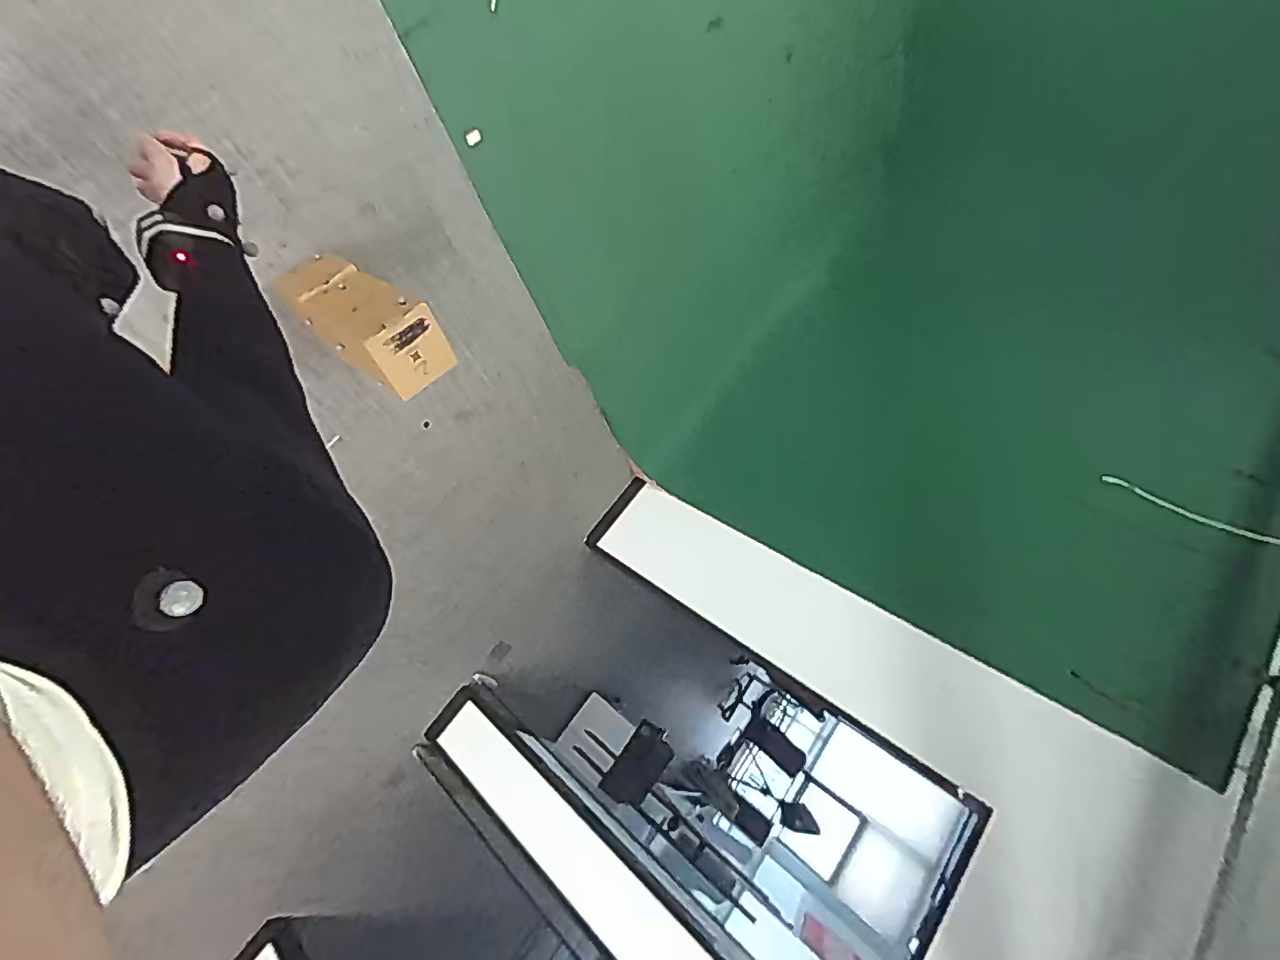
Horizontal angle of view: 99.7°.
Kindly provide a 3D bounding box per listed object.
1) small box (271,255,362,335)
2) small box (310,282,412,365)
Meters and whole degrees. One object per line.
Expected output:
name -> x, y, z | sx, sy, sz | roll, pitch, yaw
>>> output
small box -> -0.825, -0.474, 1.431 | 0.168, 0.176, 0.179 | -47, 147, -22
small box -> -0.704, -0.402, 1.366 | 0.179, 0.176, 0.168 | -22, 130, -46
